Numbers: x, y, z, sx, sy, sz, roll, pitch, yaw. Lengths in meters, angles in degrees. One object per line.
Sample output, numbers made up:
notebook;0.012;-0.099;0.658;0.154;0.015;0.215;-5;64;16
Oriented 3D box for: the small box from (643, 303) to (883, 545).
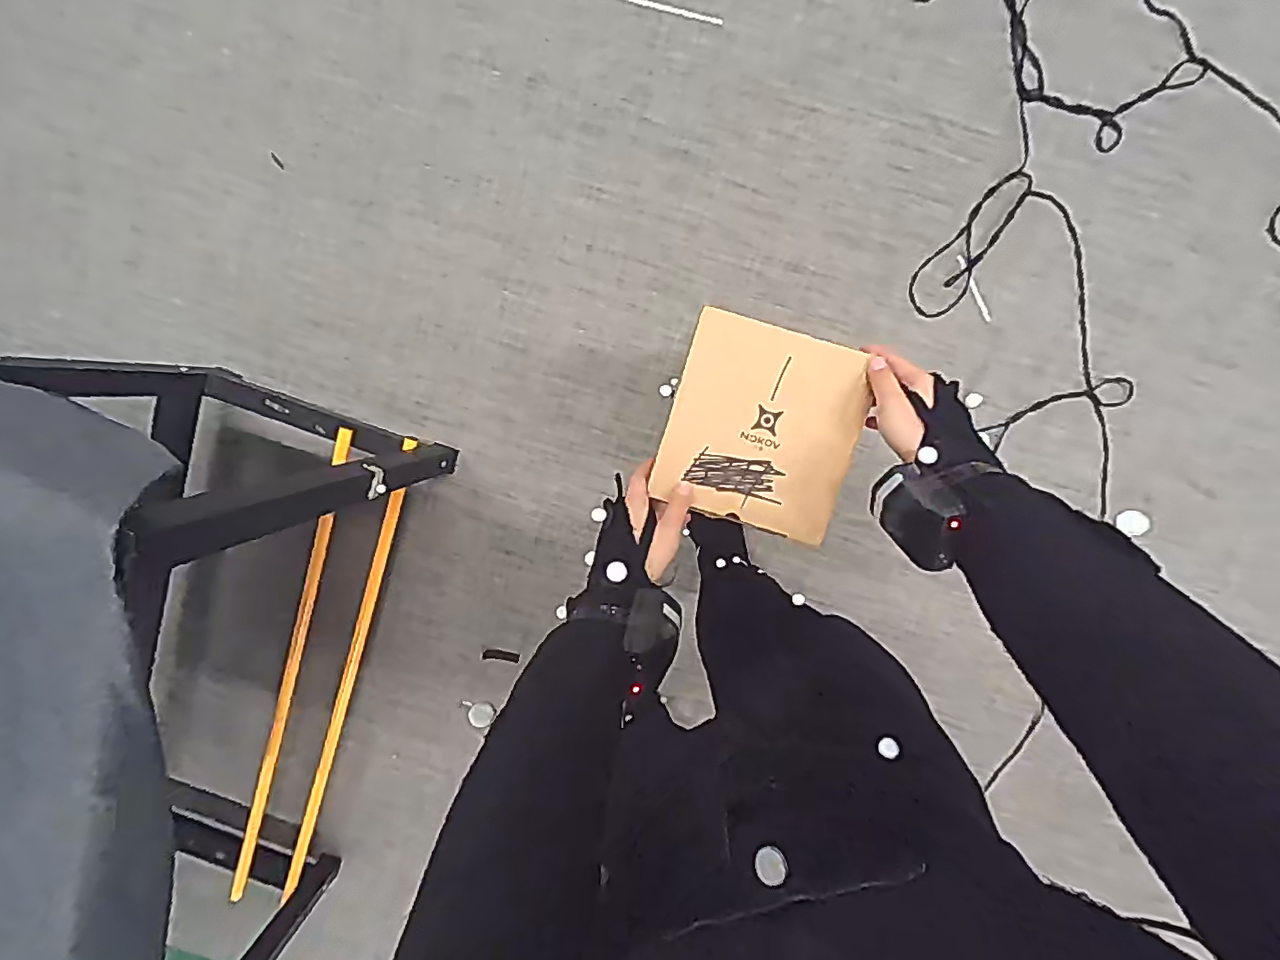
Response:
small box;0.110;-0.058;0.551;0.168;0.176;0.179;17;99;0
